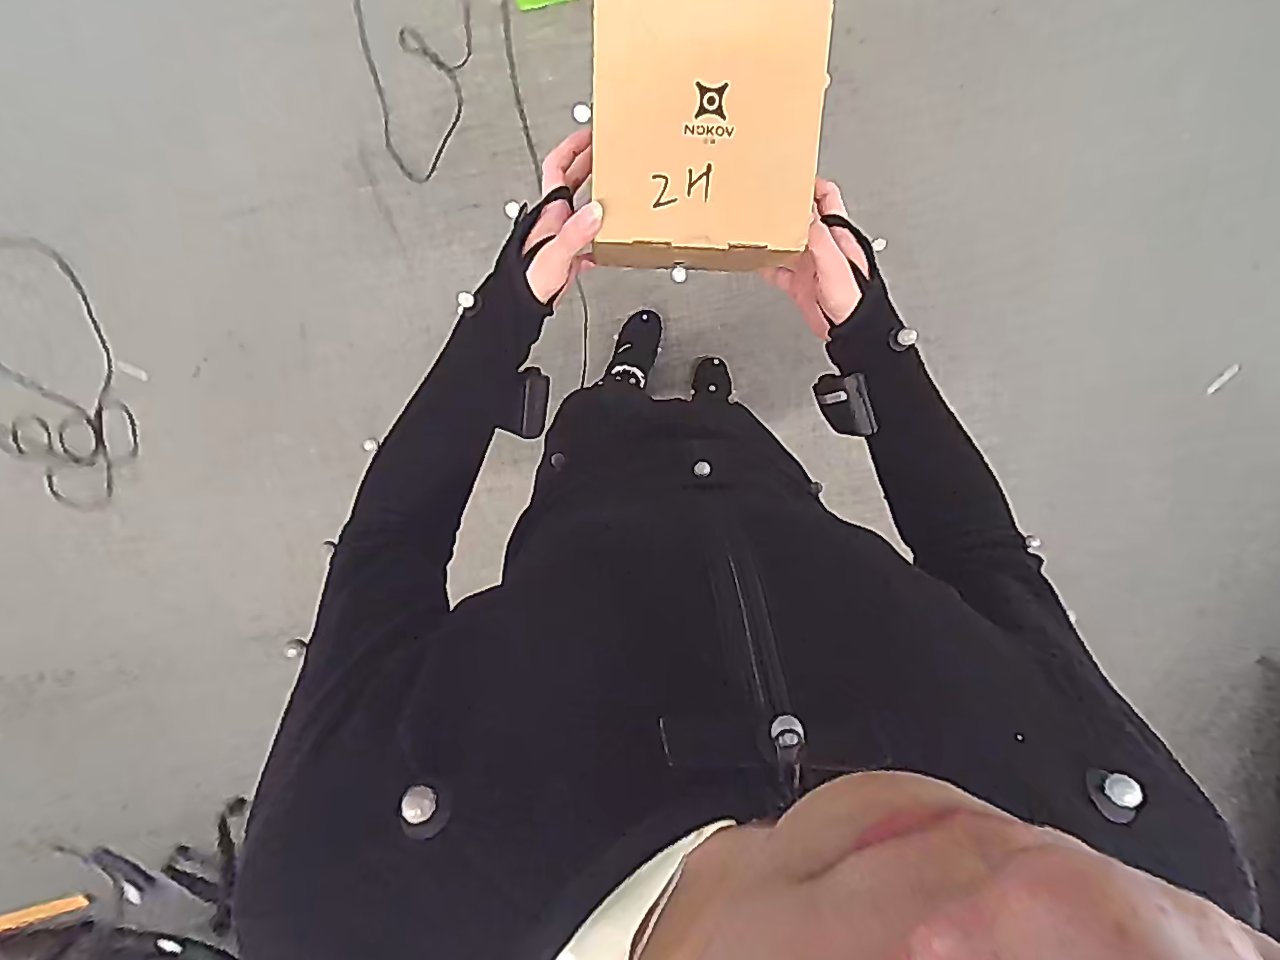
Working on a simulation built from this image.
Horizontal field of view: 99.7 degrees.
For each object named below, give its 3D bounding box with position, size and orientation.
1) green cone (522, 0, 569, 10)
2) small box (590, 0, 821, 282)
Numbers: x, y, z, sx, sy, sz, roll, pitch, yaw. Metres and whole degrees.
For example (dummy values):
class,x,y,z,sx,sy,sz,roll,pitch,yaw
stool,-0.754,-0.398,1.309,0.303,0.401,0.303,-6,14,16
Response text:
class,x,y,z,sx,sy,sz,roll,pitch,yaw
green cone,-0.211,-1.211,1.123,0.202,0.368,0.200,-10,105,5
small box,0.040,-0.278,0.476,0.168,0.176,0.179,1,106,-4
